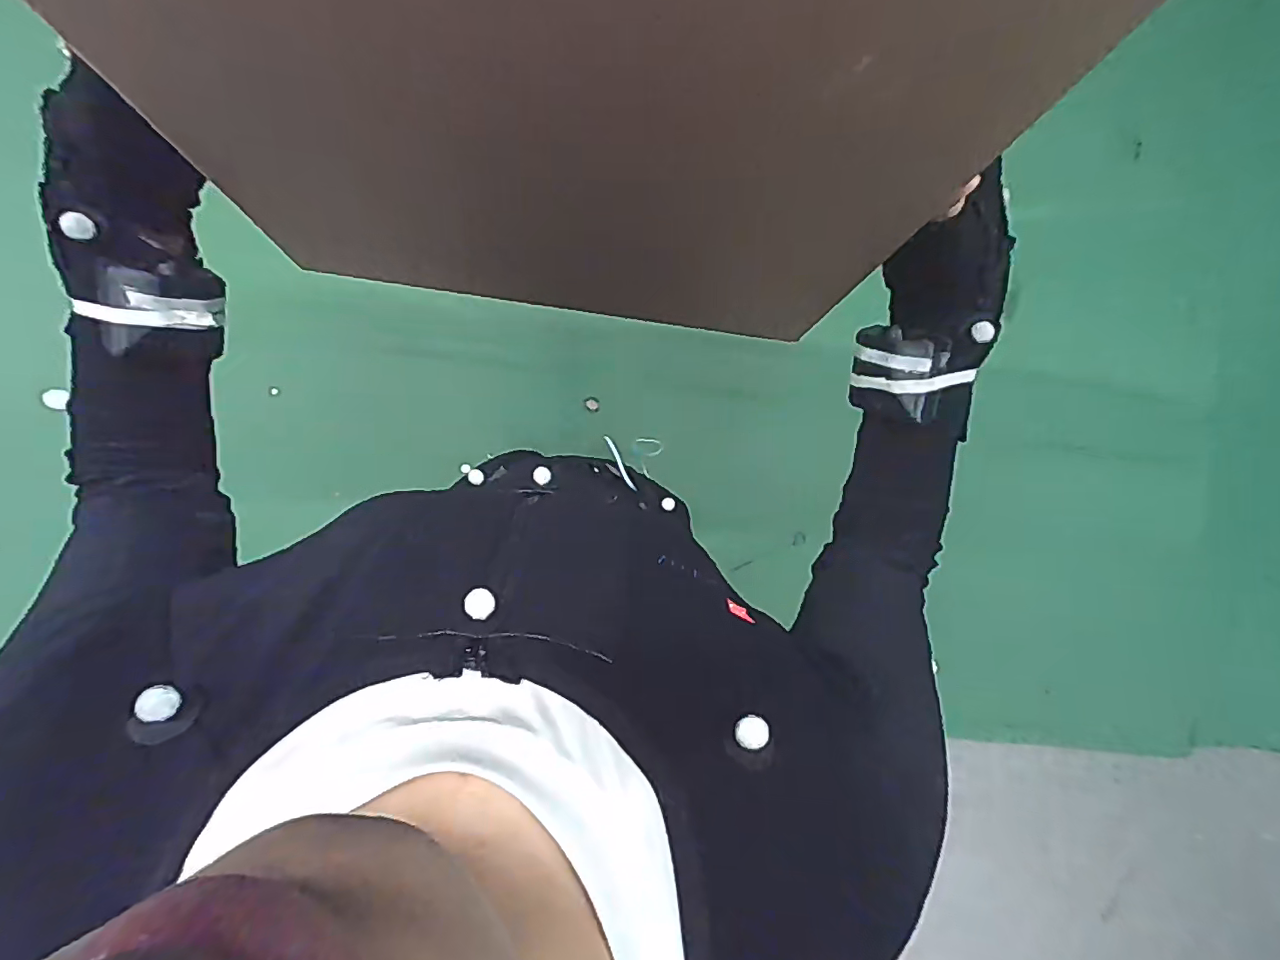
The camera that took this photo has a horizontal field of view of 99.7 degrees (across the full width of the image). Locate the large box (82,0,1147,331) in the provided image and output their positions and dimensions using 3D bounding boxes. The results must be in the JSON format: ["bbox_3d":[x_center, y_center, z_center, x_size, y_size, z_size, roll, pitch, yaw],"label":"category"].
[{"bbox_3d":[-0.026,-0.311,0.310,0.408,0.320,0.320,7,83,-6],"label":"large box"}]
